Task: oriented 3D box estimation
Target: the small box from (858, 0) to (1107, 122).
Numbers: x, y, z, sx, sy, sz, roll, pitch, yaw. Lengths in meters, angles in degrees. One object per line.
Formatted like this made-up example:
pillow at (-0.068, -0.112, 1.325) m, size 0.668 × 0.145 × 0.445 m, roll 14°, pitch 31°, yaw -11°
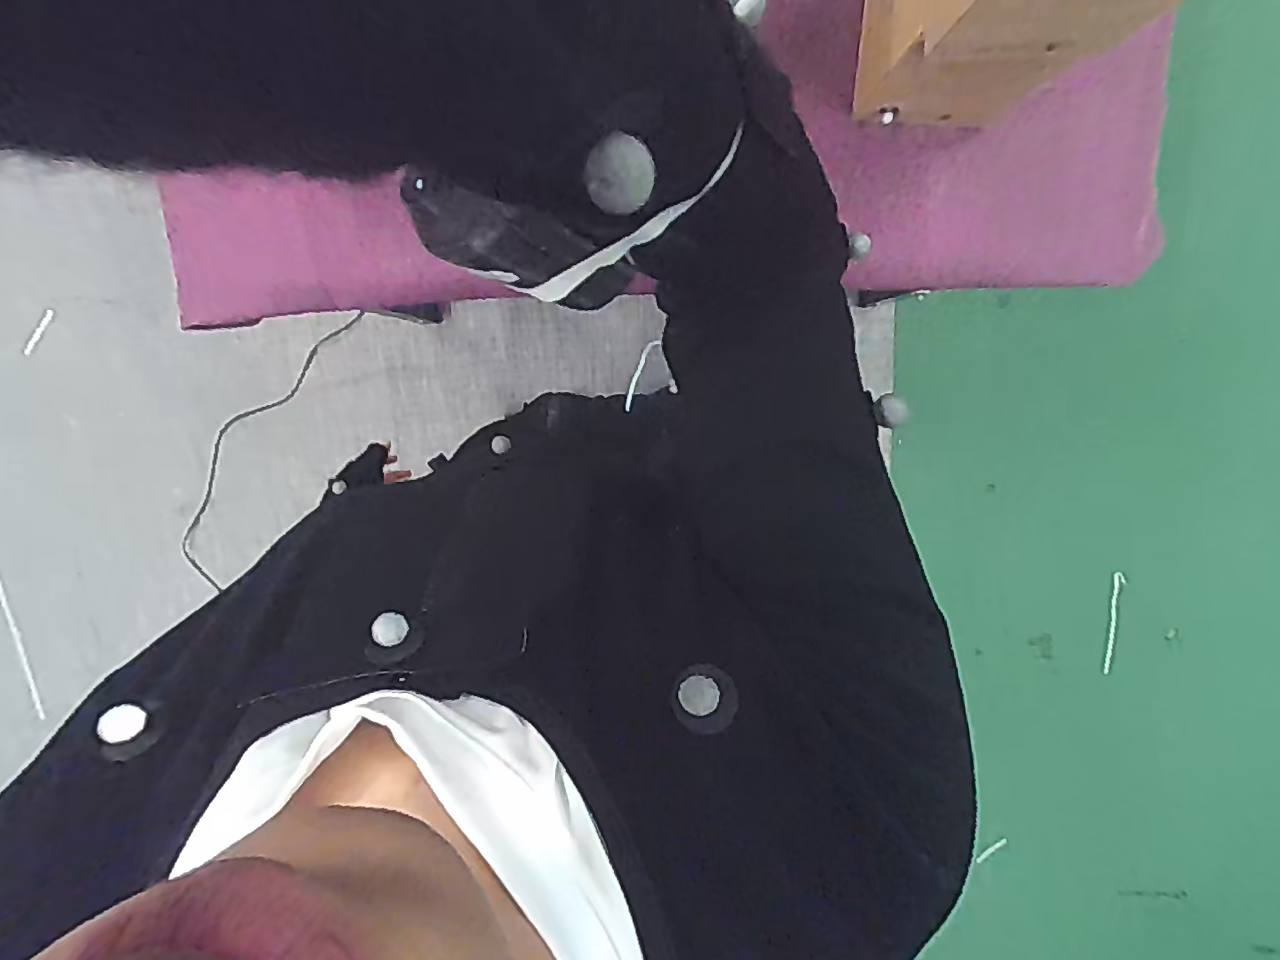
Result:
small box at (0.343, -0.500, 0.556) m, size 0.168 × 0.176 × 0.179 m, roll 3°, pitch 101°, yaw -1°
